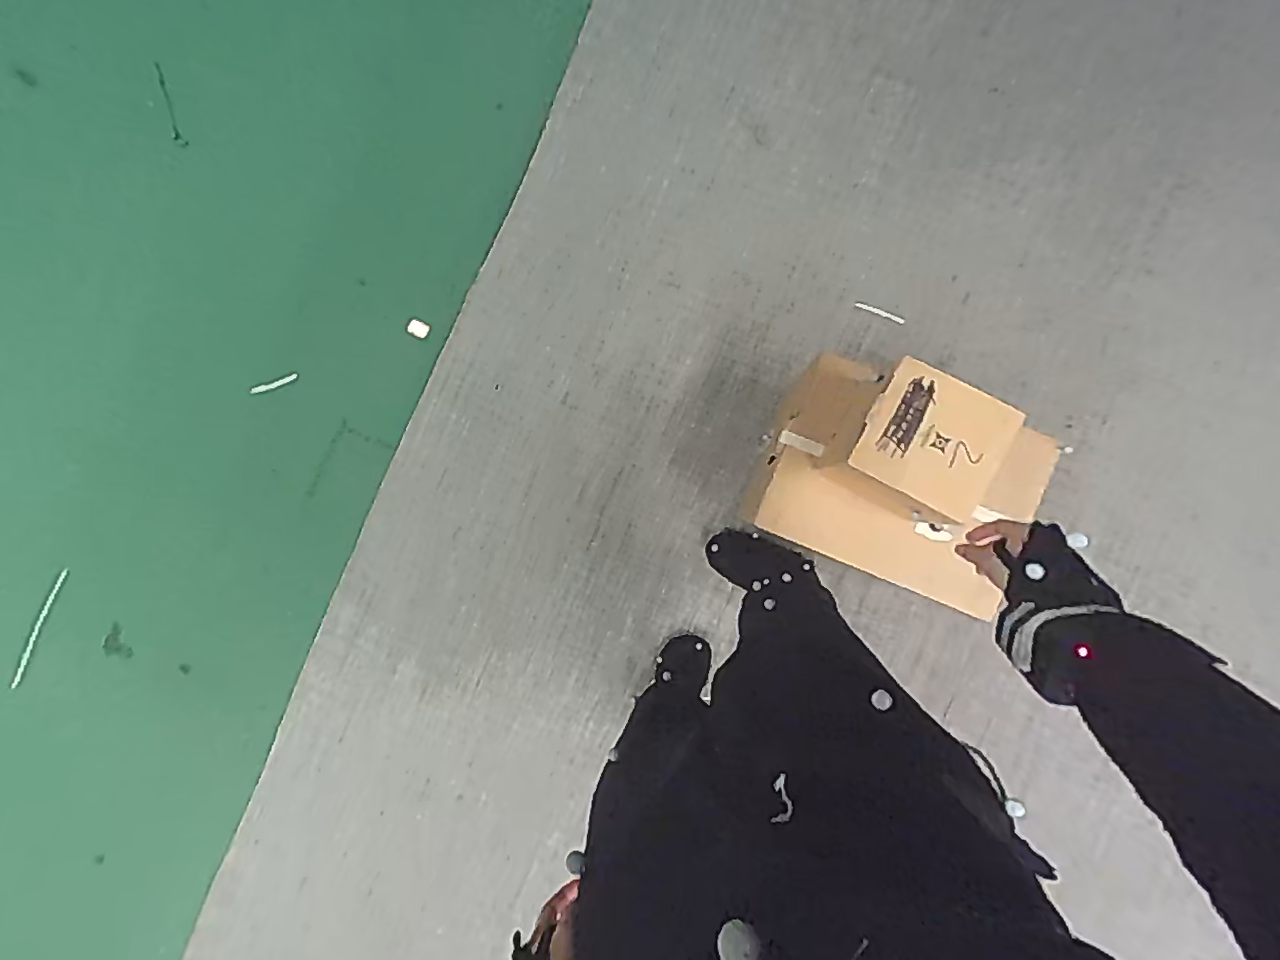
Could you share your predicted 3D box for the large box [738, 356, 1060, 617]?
[{"bbox_3d":[0.439,0.010,1.019,0.408,0.320,0.320,23,91,4],"label":"large box"}]
